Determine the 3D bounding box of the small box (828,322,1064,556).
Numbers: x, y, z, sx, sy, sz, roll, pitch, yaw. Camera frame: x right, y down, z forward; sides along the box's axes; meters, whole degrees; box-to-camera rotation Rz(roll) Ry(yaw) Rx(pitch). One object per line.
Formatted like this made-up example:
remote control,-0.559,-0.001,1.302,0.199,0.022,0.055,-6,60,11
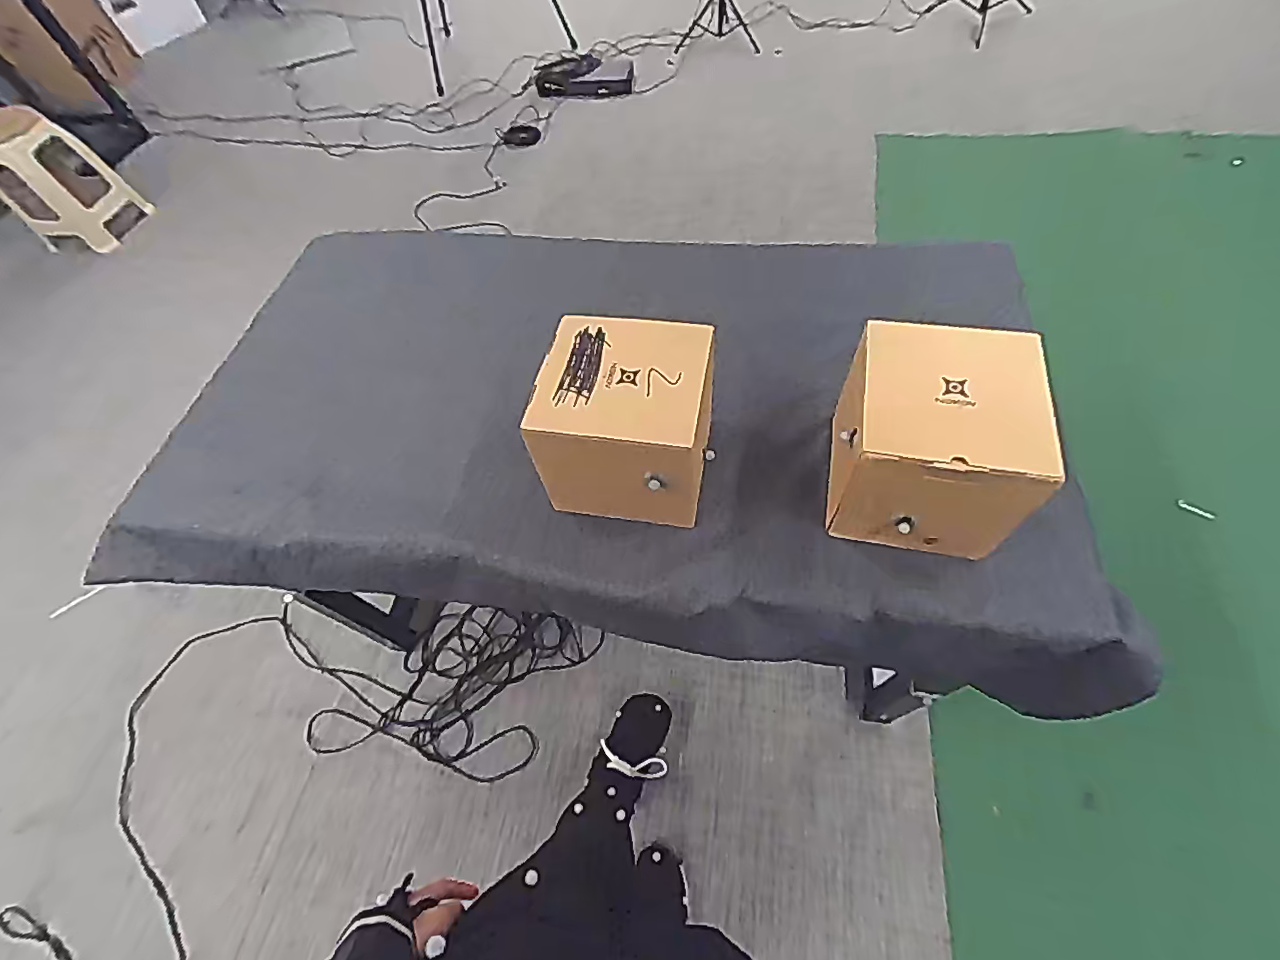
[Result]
small box,0.305,-0.041,0.581,0.168,0.176,0.179,8,60,11
